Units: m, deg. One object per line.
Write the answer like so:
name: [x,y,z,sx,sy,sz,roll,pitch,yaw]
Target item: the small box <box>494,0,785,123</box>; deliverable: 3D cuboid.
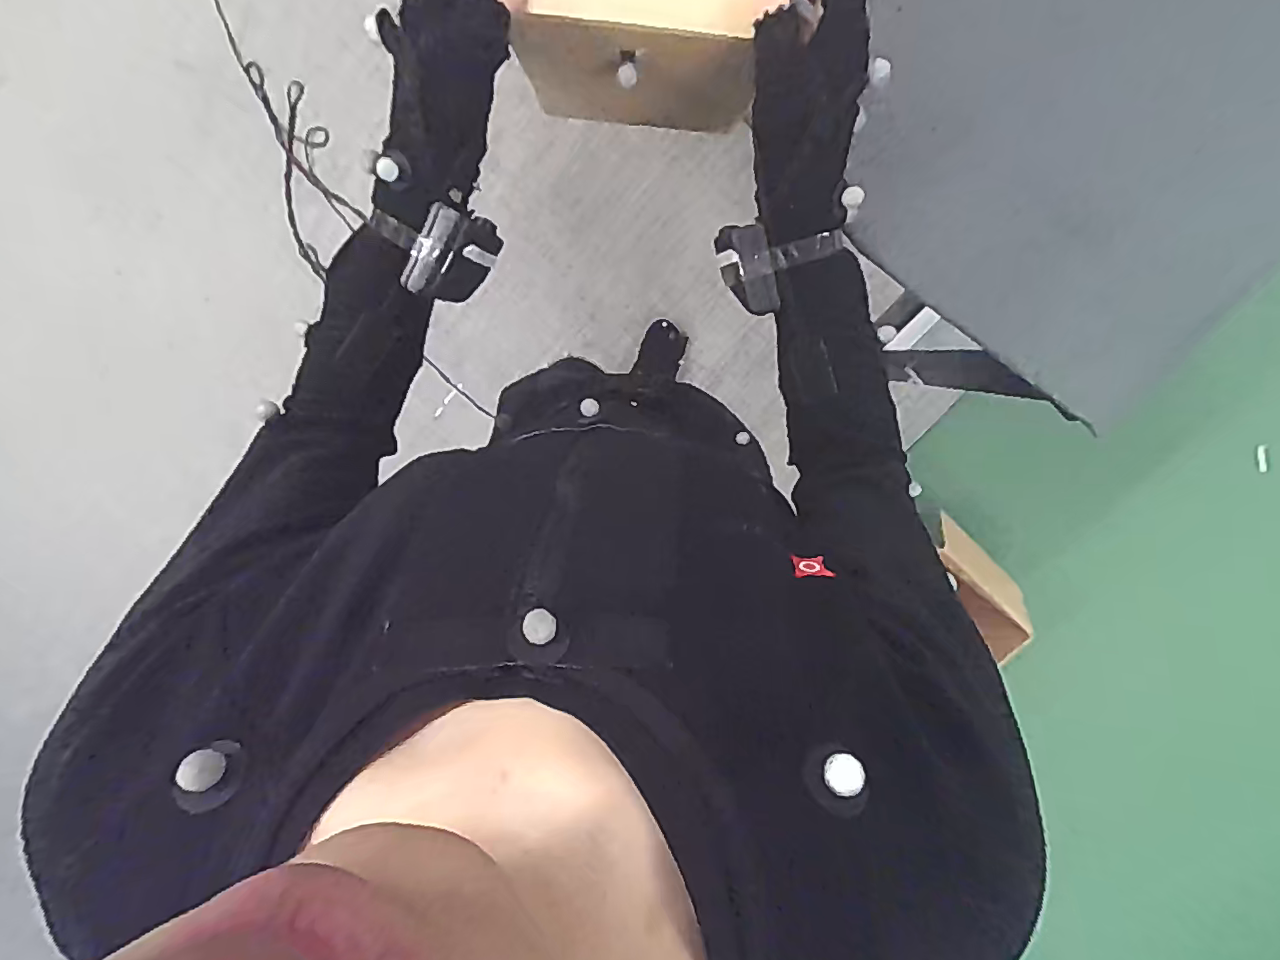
small box: [0.008,-0.376,0.379,0.179,0.176,0.168,6,106,-1]
